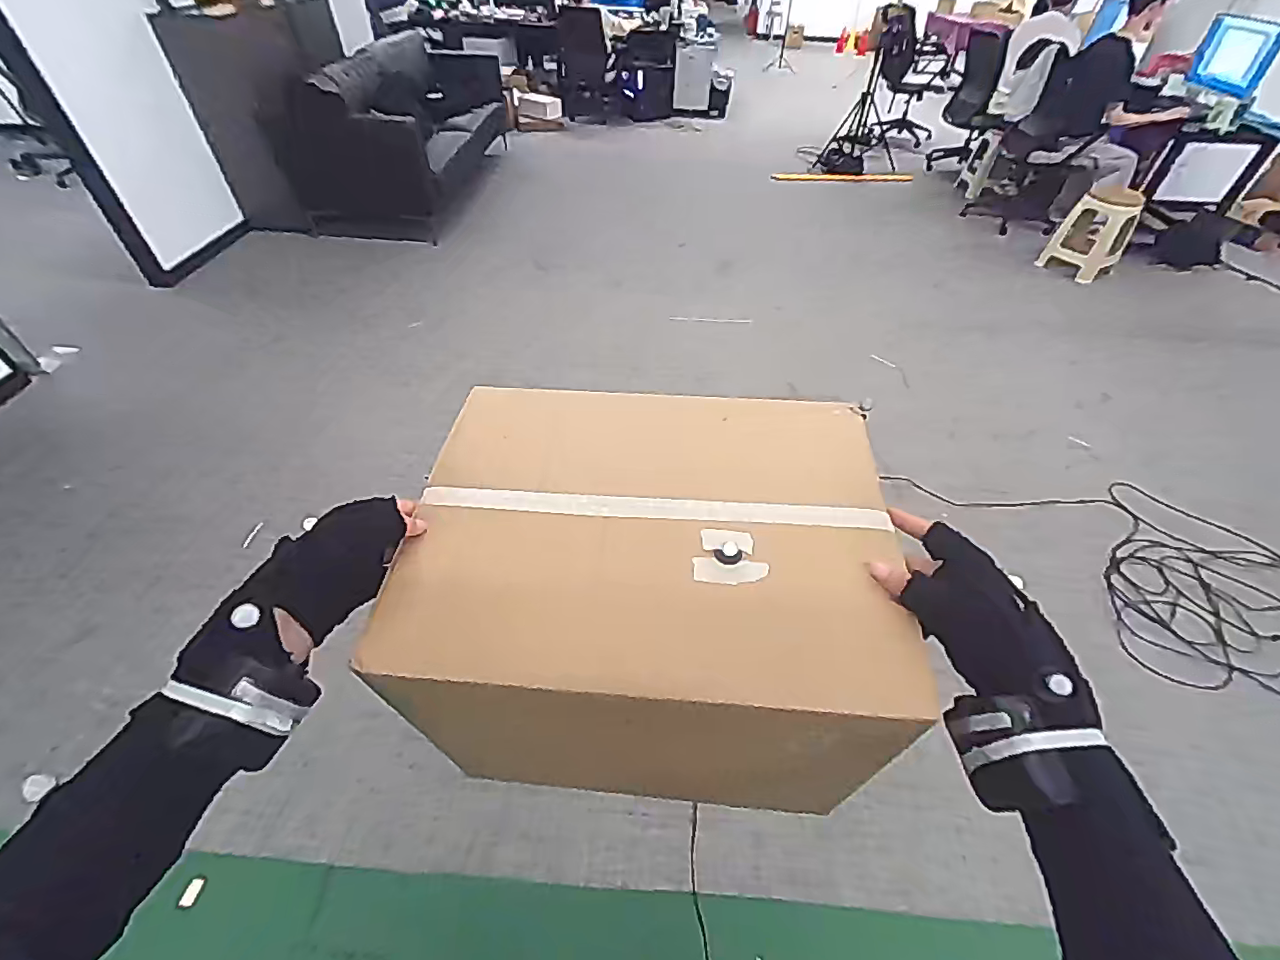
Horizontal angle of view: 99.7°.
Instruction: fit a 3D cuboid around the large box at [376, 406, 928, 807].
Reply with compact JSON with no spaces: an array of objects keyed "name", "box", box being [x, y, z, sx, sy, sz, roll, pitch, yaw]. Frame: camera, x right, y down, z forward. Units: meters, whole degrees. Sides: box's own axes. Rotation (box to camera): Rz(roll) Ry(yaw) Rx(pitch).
[{"name":"large box","box":[0.015,0.138,0.590,0.408,0.320,0.320,3,49,5]}]
